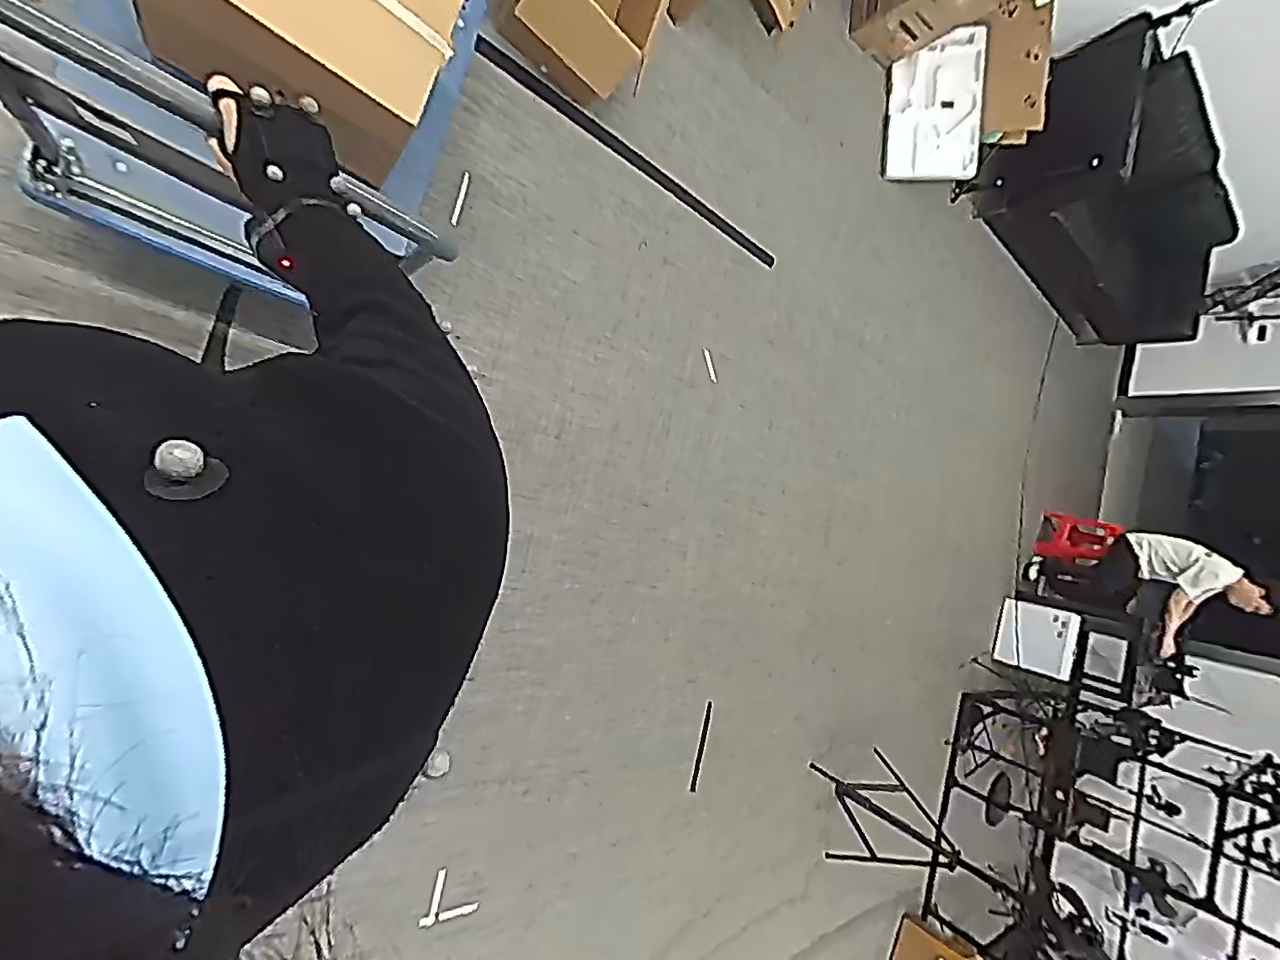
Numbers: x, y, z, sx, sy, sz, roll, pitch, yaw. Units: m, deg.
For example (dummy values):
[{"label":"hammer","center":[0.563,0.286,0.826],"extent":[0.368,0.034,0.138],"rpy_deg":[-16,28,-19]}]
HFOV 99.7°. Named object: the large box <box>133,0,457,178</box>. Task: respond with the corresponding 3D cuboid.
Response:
[{"label":"large box","center":[-0.586,-0.833,0.954],"extent":[0.408,0.320,0.320],"rpy_deg":[21,81,-36]}]
